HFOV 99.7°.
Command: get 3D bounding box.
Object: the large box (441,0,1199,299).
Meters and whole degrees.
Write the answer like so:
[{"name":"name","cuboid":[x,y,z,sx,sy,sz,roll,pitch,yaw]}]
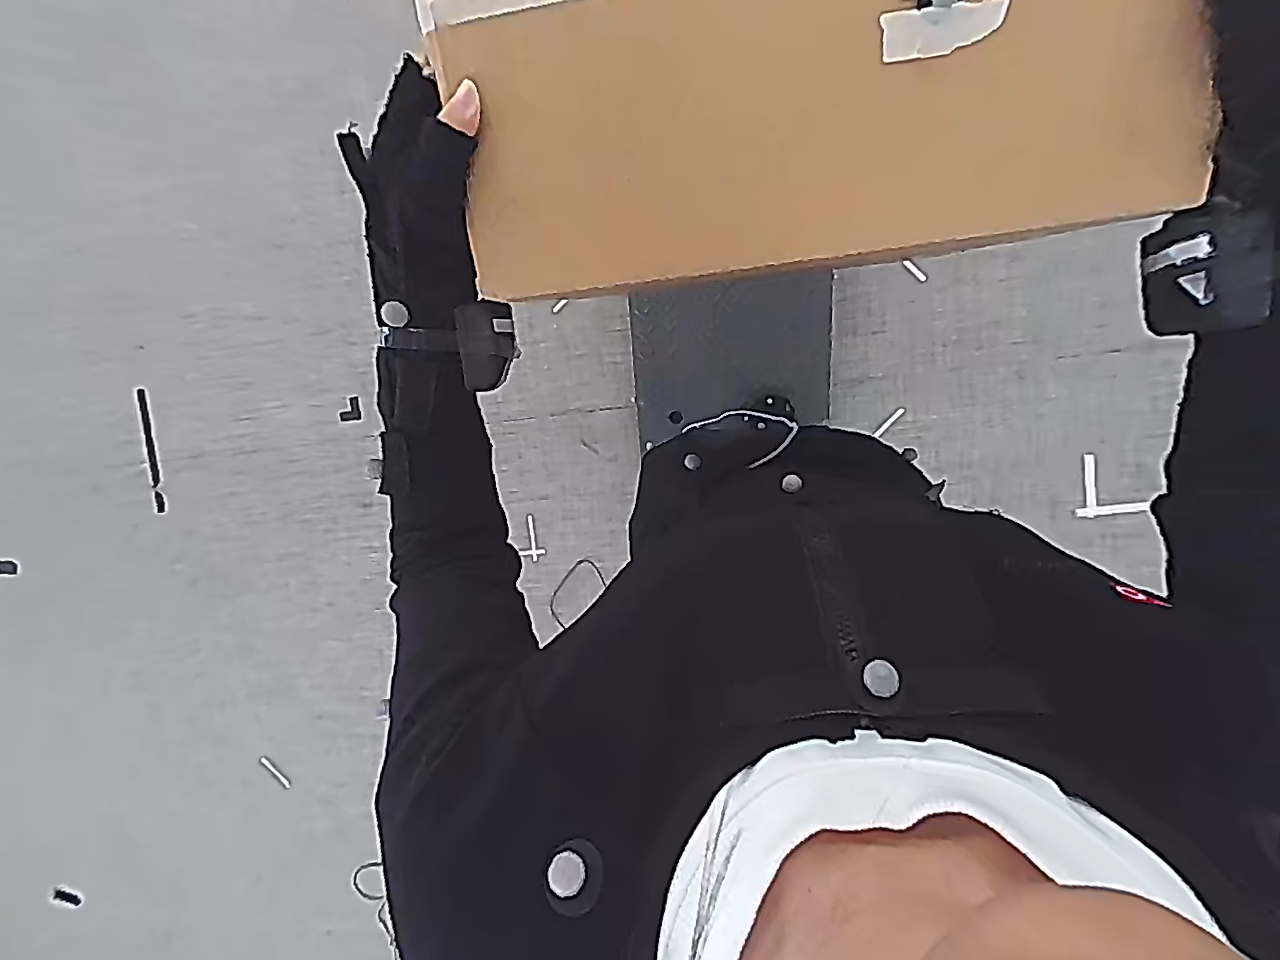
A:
[{"name":"large box","cuboid":[0.095,-0.332,0.426,0.408,0.320,0.320,-5,108,8]}]
